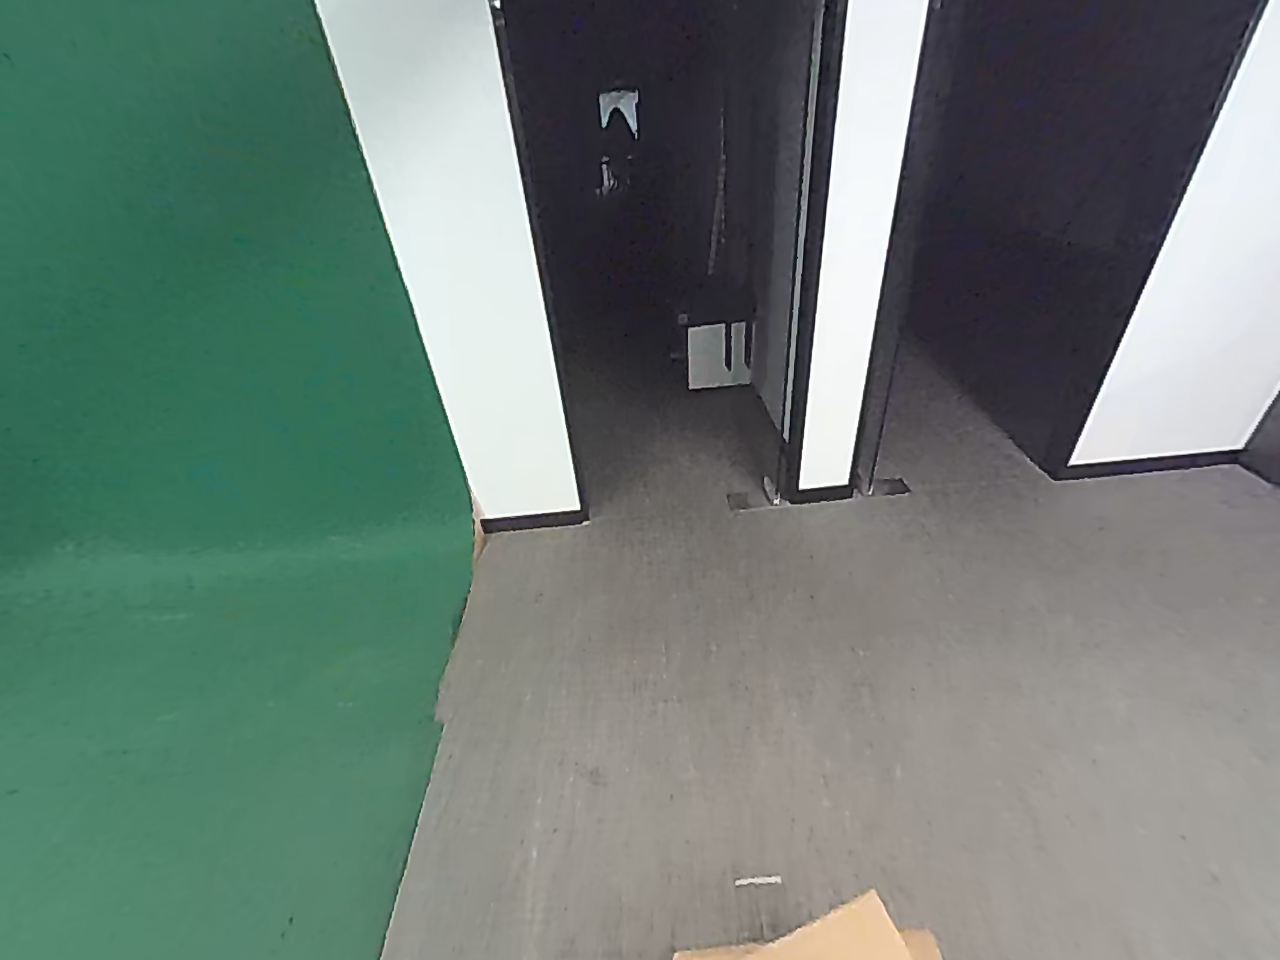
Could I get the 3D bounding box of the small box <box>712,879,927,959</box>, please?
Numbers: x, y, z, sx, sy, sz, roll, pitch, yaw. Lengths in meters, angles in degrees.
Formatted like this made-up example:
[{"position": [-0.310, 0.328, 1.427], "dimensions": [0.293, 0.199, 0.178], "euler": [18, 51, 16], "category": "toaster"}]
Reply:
[{"position": [0.145, 0.435, 0.392], "dimensions": [0.168, 0.176, 0.179], "euler": [-20, 45, -9], "category": "small box"}]
